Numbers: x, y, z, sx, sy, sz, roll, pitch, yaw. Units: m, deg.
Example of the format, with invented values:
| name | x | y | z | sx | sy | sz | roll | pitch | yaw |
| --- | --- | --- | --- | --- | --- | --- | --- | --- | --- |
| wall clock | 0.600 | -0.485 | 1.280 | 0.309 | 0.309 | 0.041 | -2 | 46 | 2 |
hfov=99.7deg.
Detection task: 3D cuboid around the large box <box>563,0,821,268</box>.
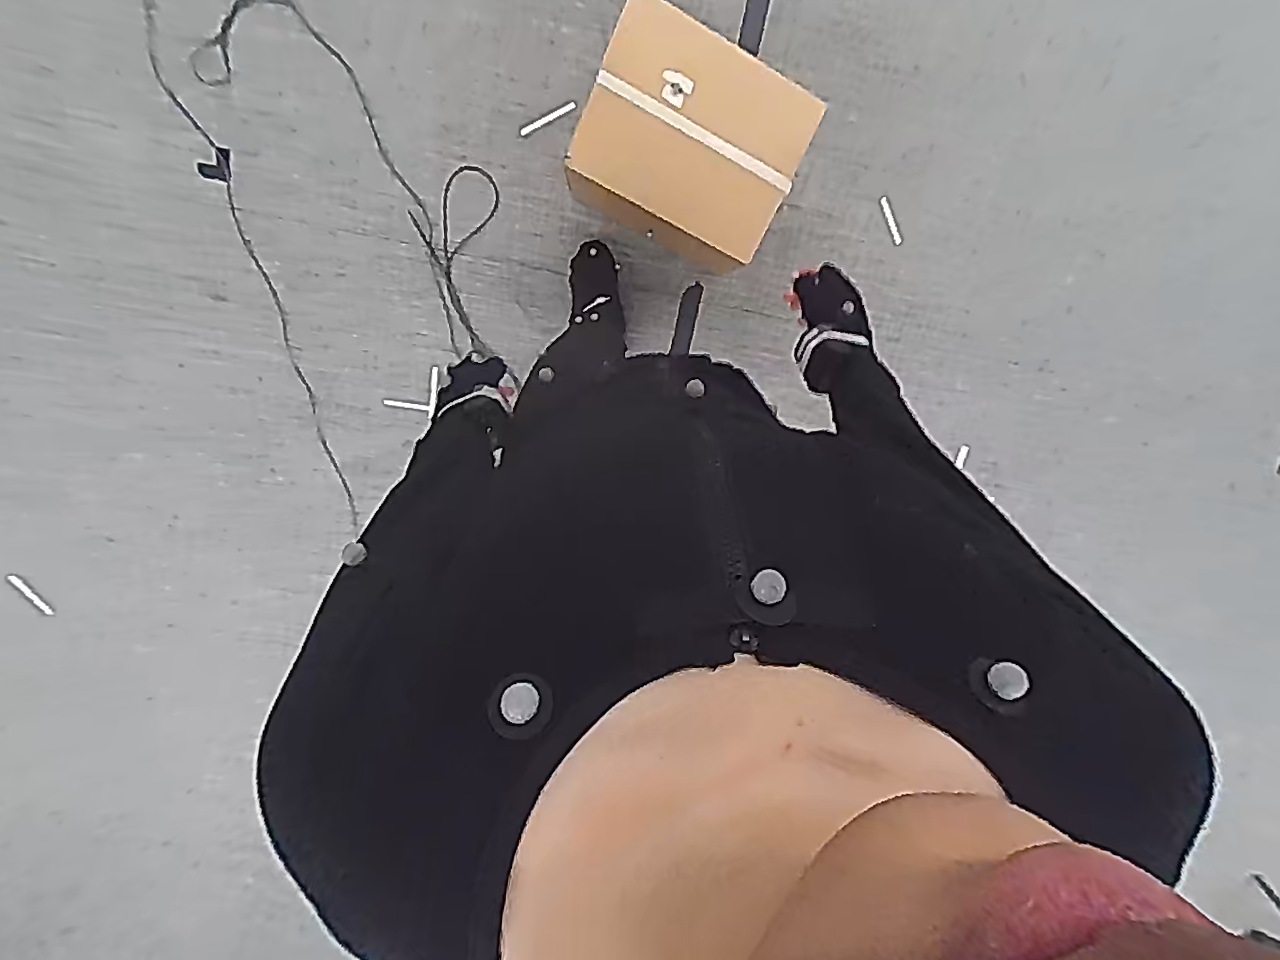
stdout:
| name | x | y | z | sx | sy | sz | roll | pitch | yaw |
| --- | --- | --- | --- | --- | --- | --- | --- | --- | --- |
| large box | 0.090 | -0.691 | 1.150 | 0.408 | 0.320 | 0.320 | 24 | 104 | -10 |
